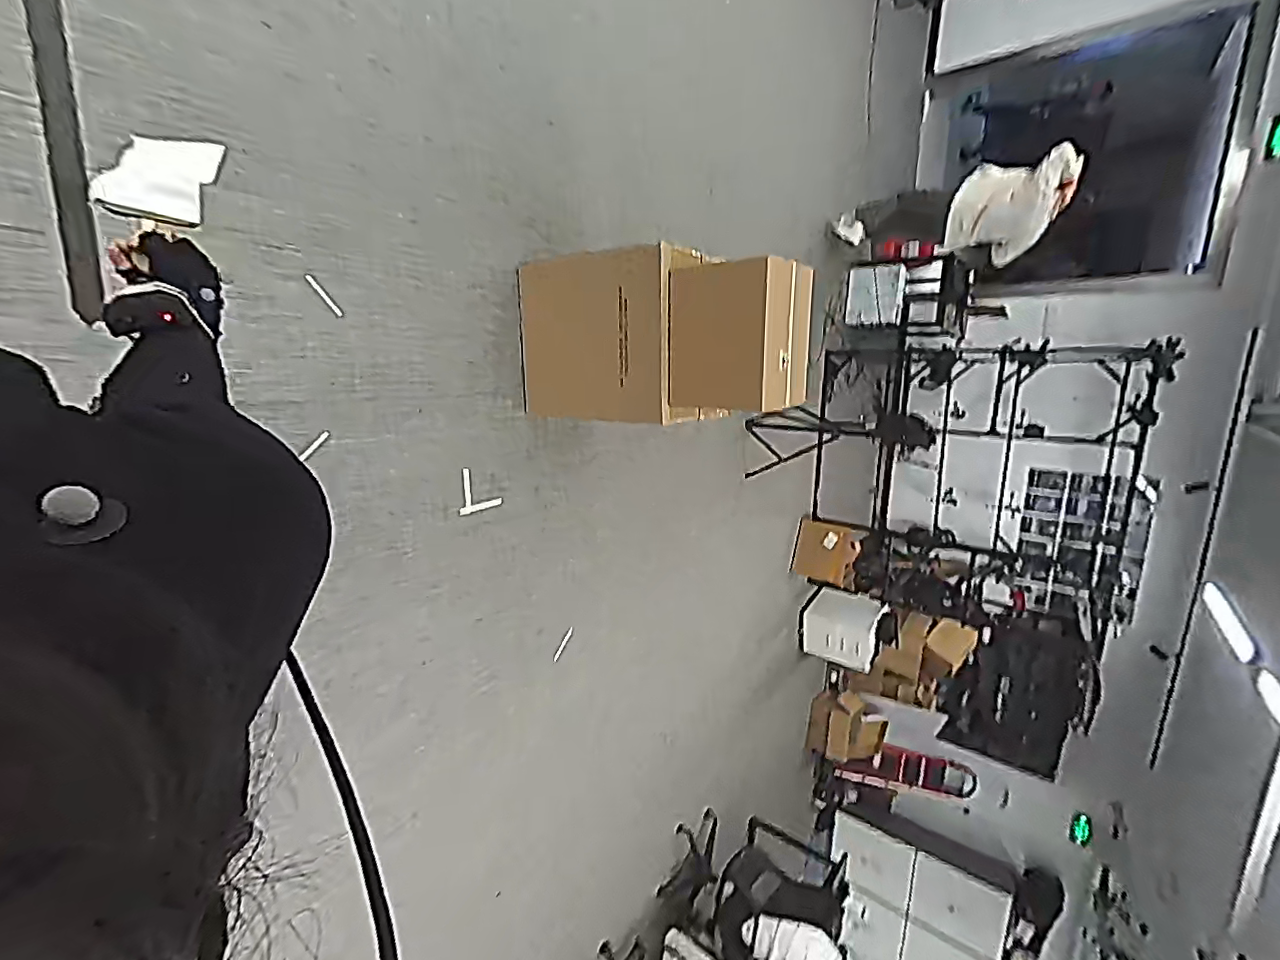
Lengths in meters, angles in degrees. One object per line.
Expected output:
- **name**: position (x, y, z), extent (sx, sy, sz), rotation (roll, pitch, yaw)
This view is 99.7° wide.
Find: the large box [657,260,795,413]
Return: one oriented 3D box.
- **large box**: position (0.257, -0.427, 1.634), extent (0.320, 0.320, 0.408), rotation (-17, 112, -51)
